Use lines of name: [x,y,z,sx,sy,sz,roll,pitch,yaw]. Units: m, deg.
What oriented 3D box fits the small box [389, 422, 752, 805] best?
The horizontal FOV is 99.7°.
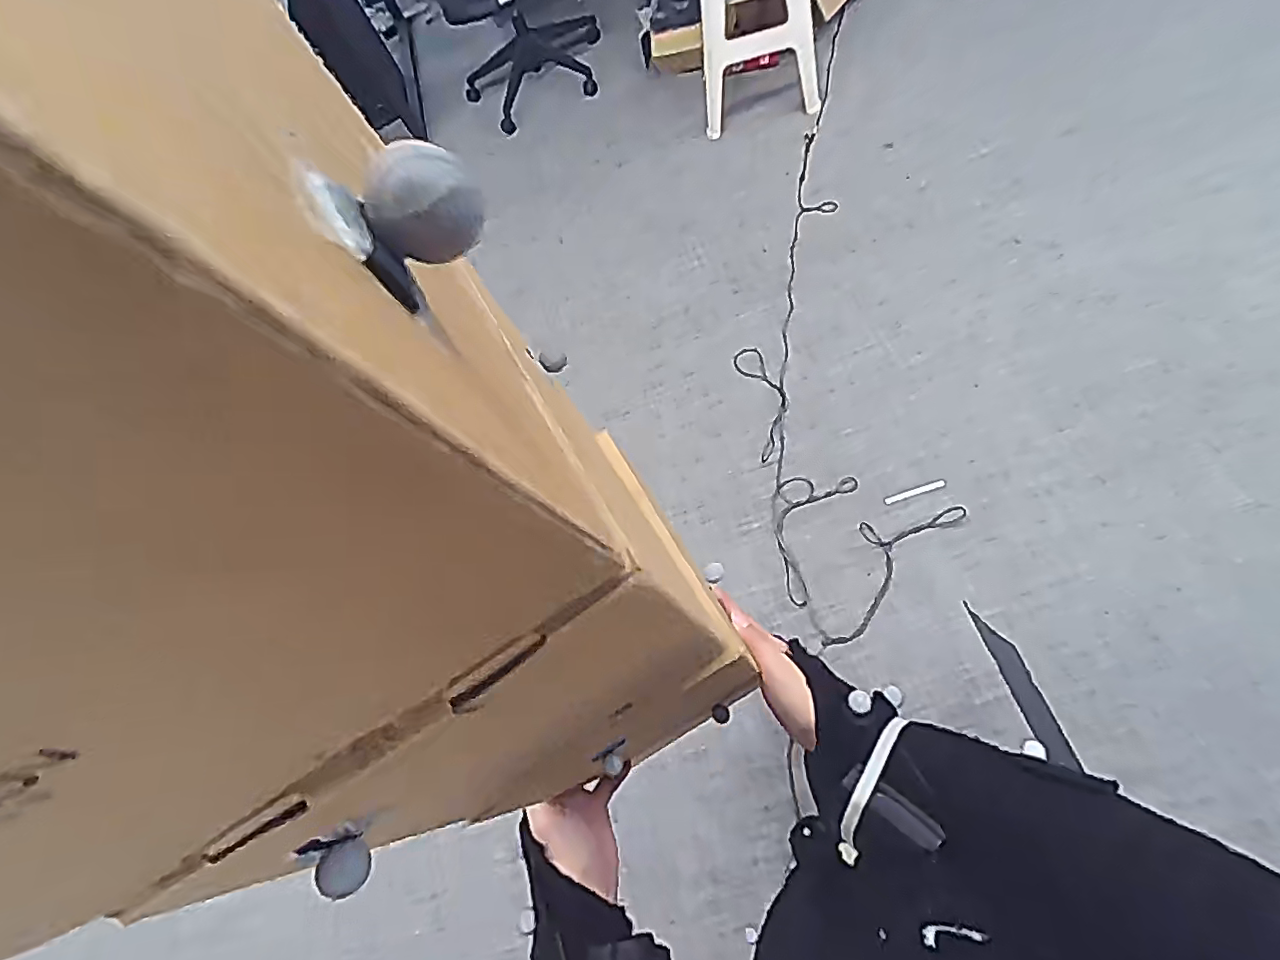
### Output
small box: [-0.036,0.098,0.387,0.179,0.176,0.168,-32,63,0]
